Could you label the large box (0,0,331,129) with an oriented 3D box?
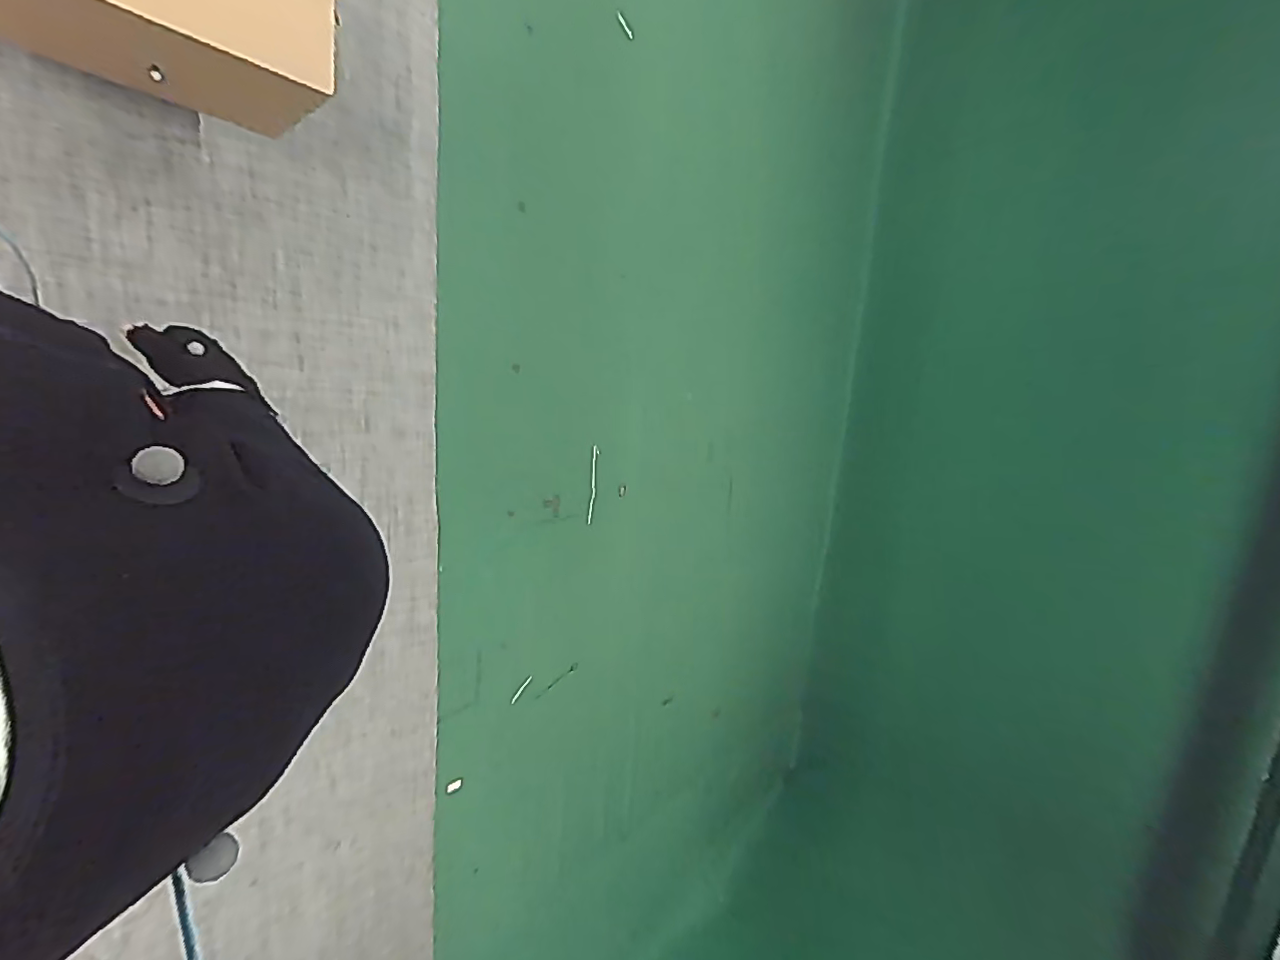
[{"bbox_3d":[-0.738,-0.799,0.816,0.408,0.320,0.320,-6,104,-48],"label":"large box"}]
